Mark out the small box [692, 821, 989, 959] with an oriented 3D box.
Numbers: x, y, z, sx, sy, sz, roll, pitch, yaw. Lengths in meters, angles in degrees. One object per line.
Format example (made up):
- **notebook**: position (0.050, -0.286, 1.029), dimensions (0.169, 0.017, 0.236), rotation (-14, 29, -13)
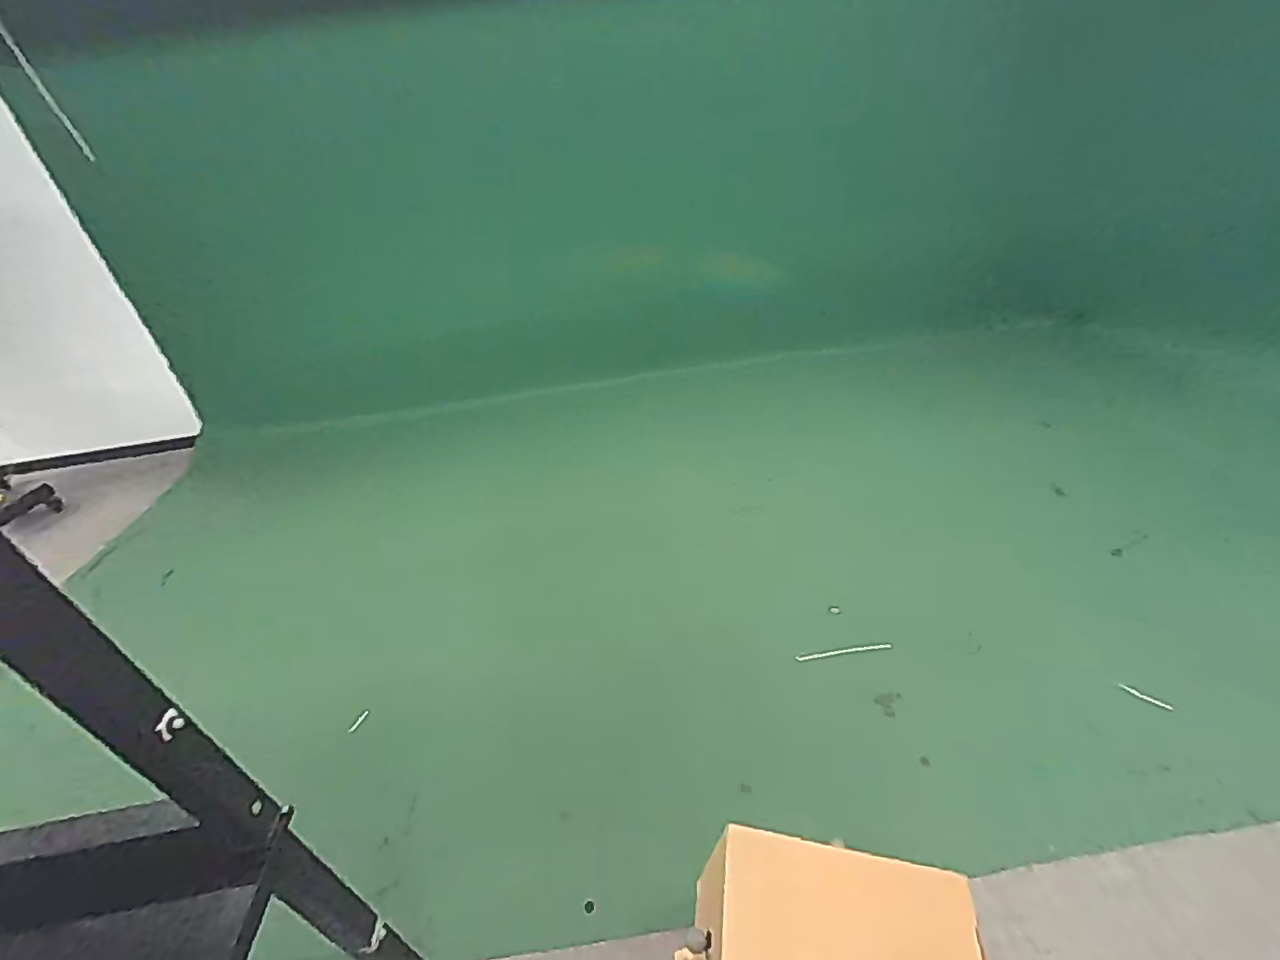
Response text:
- **small box**: position (0.127, 0.373, 0.379), dimensions (0.179, 0.176, 0.168), rotation (9, 41, 4)
